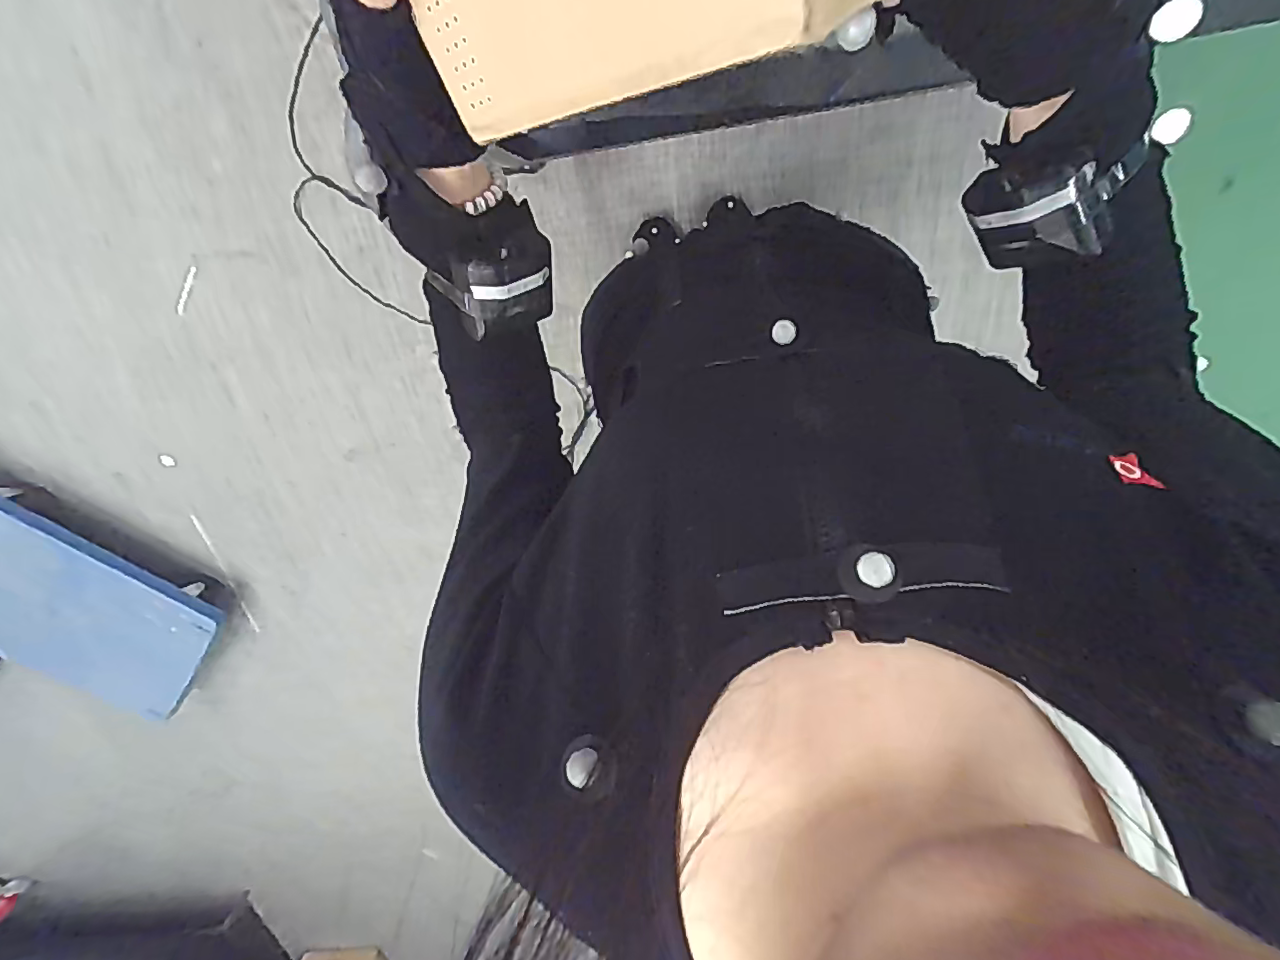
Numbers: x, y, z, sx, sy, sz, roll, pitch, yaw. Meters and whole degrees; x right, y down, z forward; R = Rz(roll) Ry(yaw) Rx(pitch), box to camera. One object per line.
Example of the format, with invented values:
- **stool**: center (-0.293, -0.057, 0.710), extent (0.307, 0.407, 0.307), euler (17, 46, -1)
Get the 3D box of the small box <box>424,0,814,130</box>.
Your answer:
- **small box**: center (0.009, -0.246, 0.166), extent (0.168, 0.176, 0.179), euler (-47, 132, -24)
